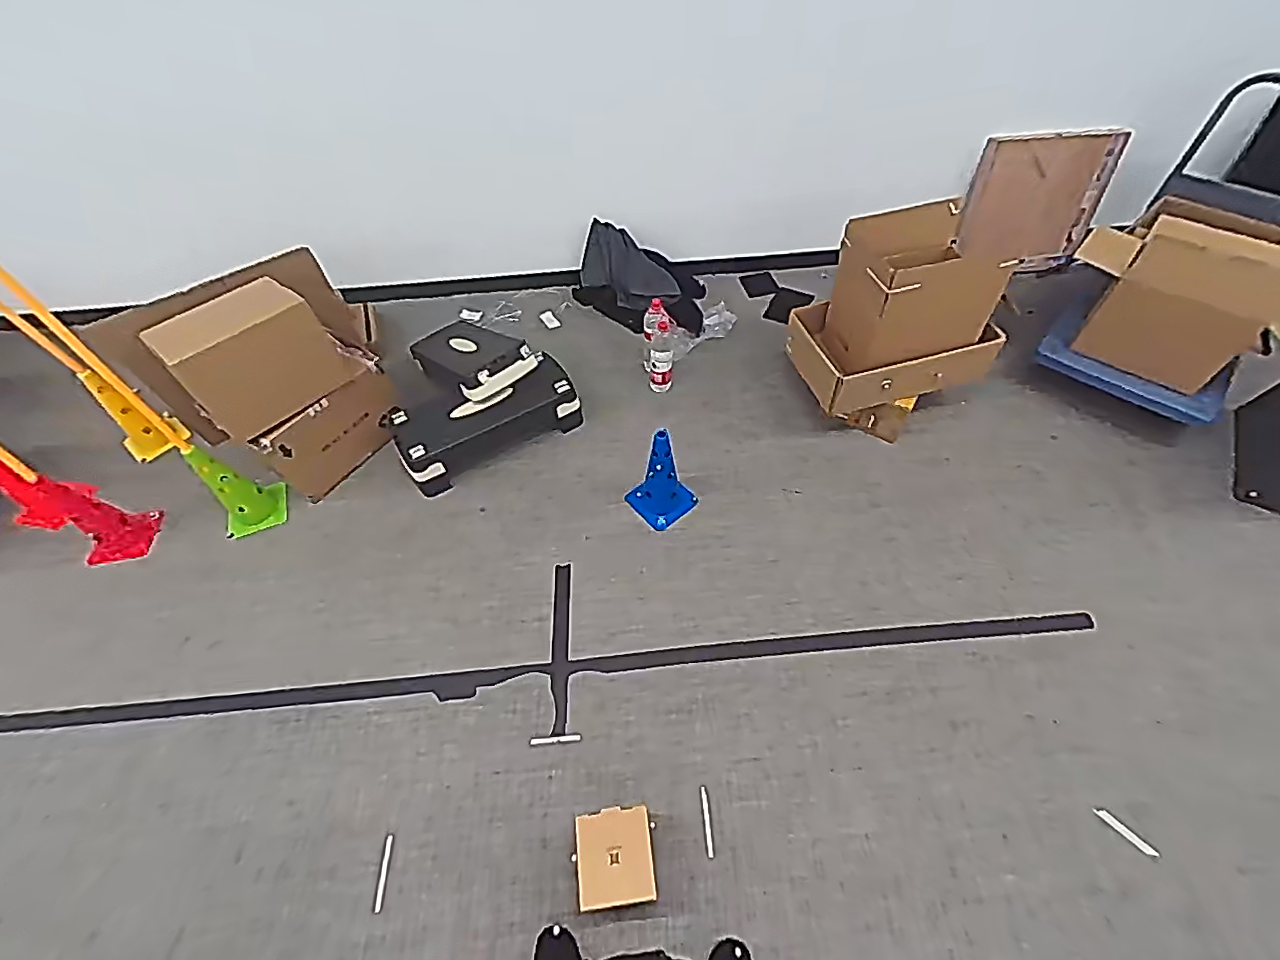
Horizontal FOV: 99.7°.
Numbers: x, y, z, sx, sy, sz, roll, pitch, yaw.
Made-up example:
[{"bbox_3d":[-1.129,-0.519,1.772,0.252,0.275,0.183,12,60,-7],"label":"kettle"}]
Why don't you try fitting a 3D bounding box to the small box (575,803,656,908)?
[{"bbox_3d":[-0.055,0.866,1.252,0.168,0.176,0.179,-7,54,-3],"label":"small box"}]
